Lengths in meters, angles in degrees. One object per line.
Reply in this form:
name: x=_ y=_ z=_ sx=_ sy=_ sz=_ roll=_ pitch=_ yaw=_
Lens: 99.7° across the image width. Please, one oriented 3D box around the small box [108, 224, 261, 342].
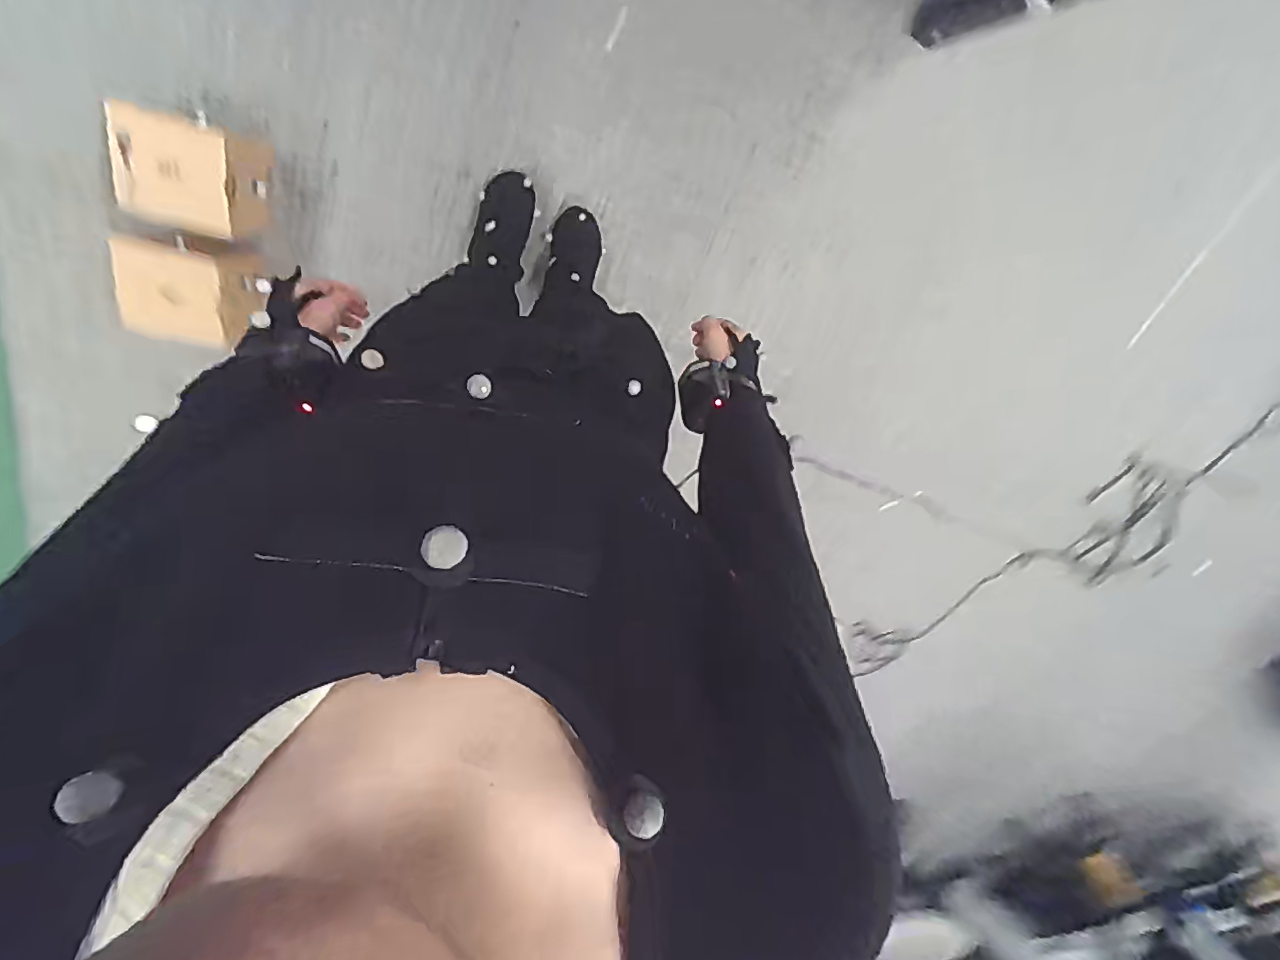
small box: x=-0.879 y=-0.393 z=1.066 sx=0.179 sy=0.176 sz=0.168 roll=12 pitch=116 yaw=-13
